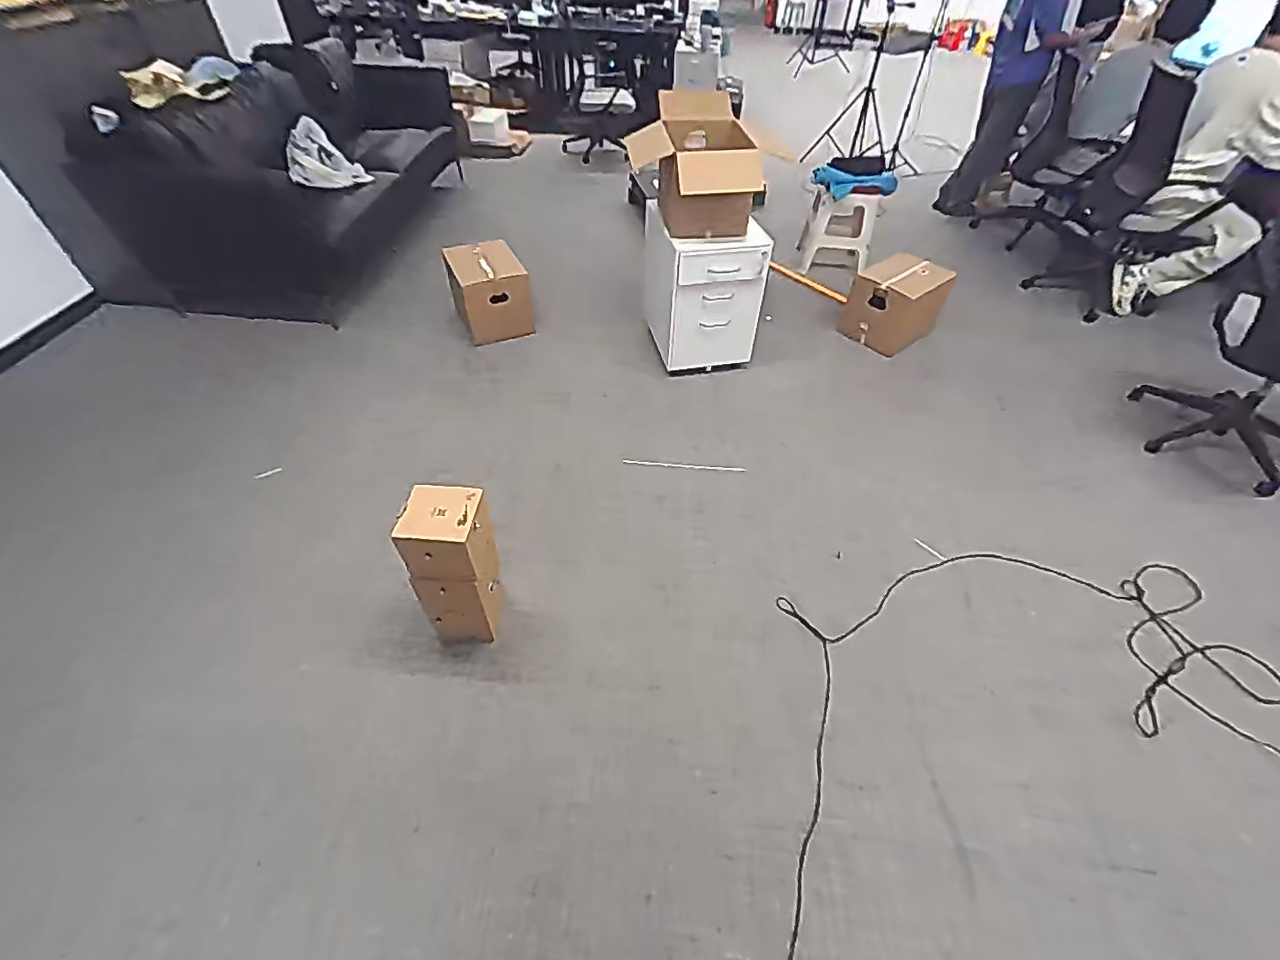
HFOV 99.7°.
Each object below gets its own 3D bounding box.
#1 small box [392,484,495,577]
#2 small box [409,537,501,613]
[{"bbox_3d":[-0.480,0.128,1.349,0.179,0.176,0.168,3,47,2],"label":"small box"},{"bbox_3d":[-0.491,0.245,1.463,0.179,0.176,0.168,4,48,1],"label":"small box"}]
